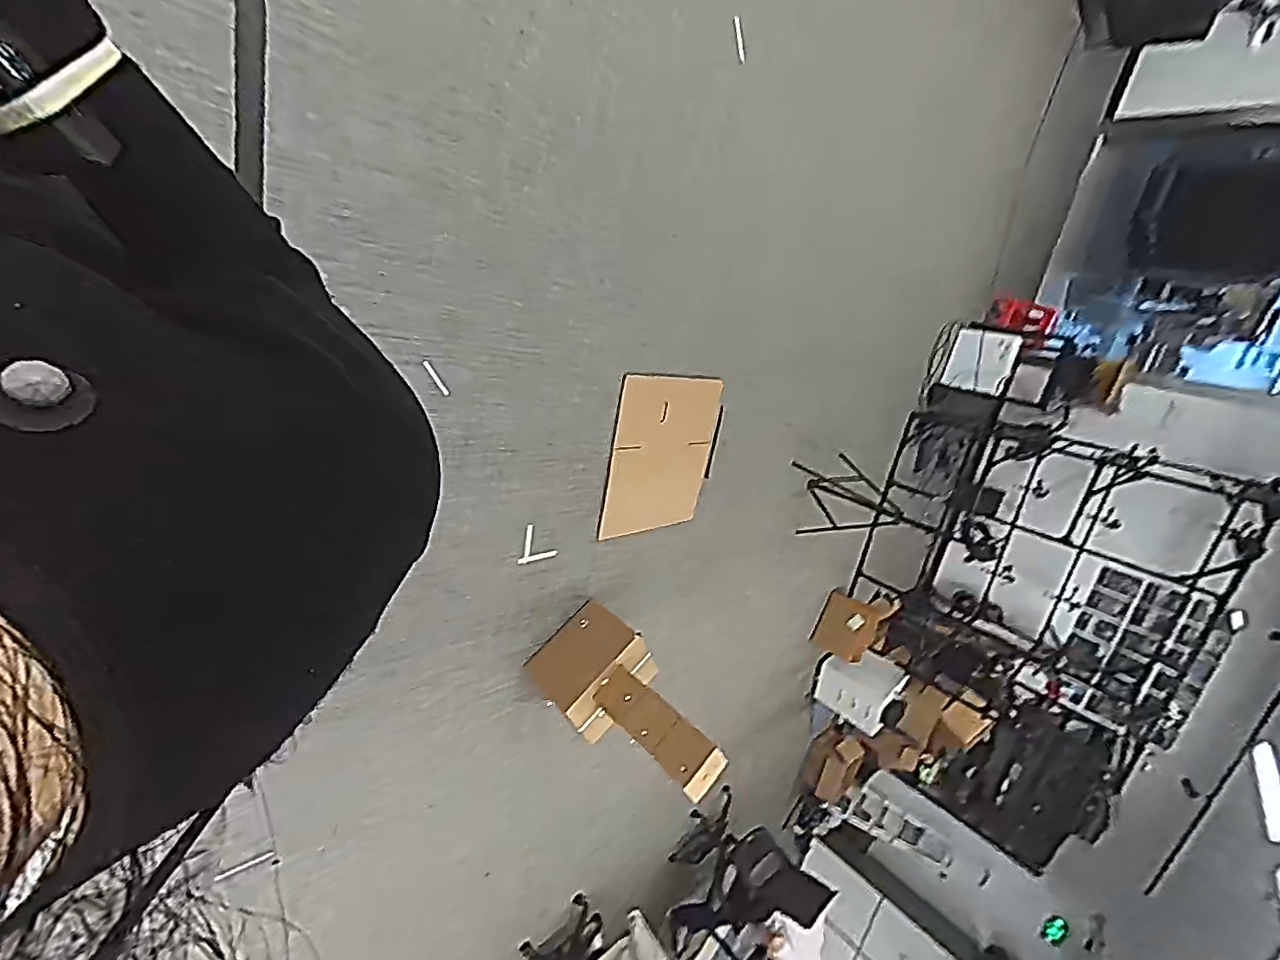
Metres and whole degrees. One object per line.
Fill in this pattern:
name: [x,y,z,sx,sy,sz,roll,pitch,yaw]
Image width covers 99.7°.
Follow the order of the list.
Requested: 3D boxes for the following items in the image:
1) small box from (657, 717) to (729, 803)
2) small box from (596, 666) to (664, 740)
small box: [0.179,0.972,1.886,0.179,0.176,0.168,-44,135,-20]
small box: [-0.042,0.864,2.106,0.179,0.176,0.168,-44,134,-19]
